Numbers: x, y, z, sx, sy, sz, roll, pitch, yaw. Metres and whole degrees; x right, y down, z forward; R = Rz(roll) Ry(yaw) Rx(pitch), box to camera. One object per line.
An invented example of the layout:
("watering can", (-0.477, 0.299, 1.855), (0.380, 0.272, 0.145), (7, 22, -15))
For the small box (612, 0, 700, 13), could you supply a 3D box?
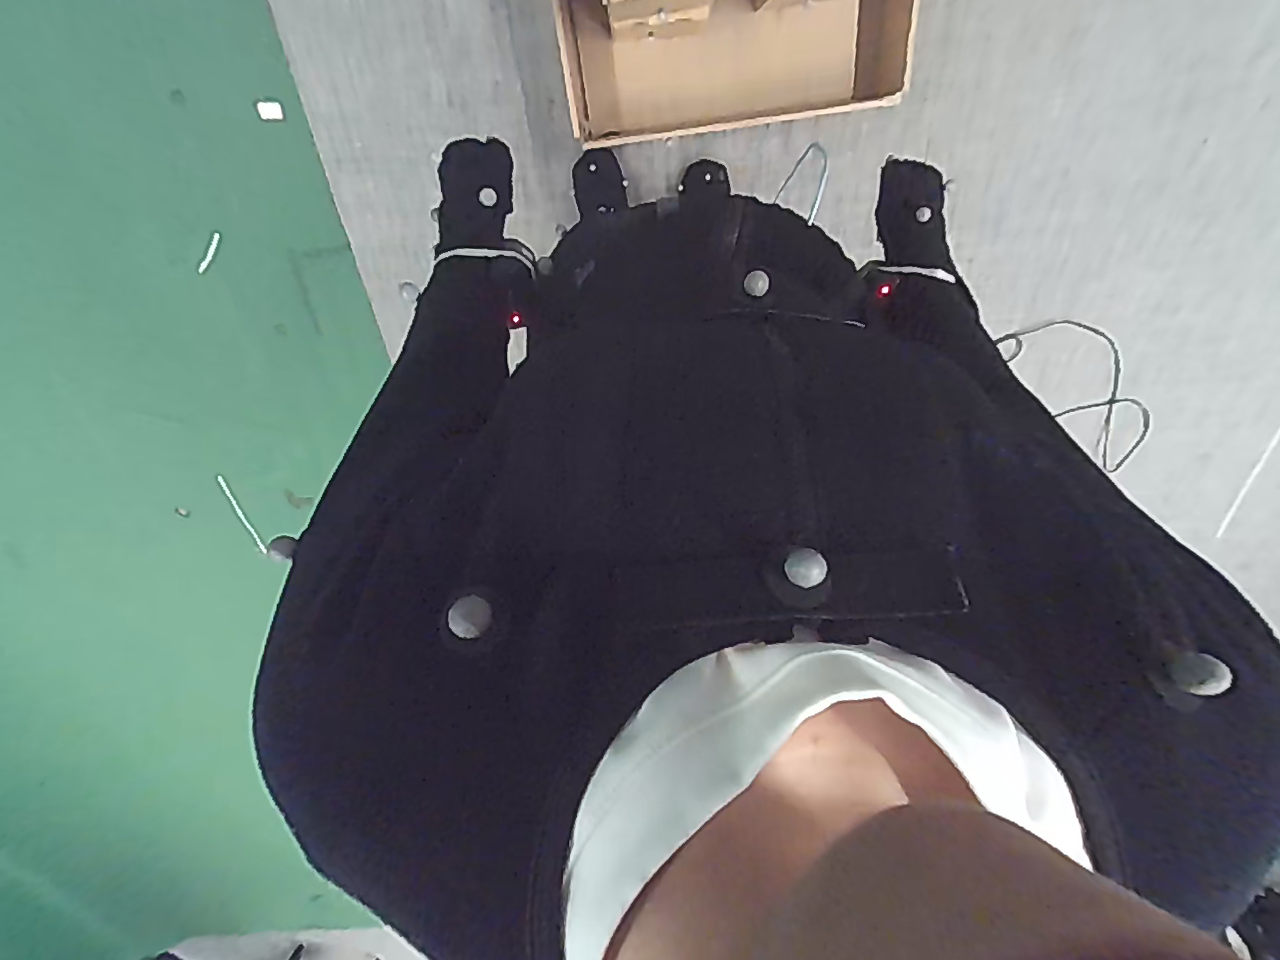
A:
("small box", (0.026, -0.806, 0.773), (0.168, 0.176, 0.179), (-7, 123, 3))
